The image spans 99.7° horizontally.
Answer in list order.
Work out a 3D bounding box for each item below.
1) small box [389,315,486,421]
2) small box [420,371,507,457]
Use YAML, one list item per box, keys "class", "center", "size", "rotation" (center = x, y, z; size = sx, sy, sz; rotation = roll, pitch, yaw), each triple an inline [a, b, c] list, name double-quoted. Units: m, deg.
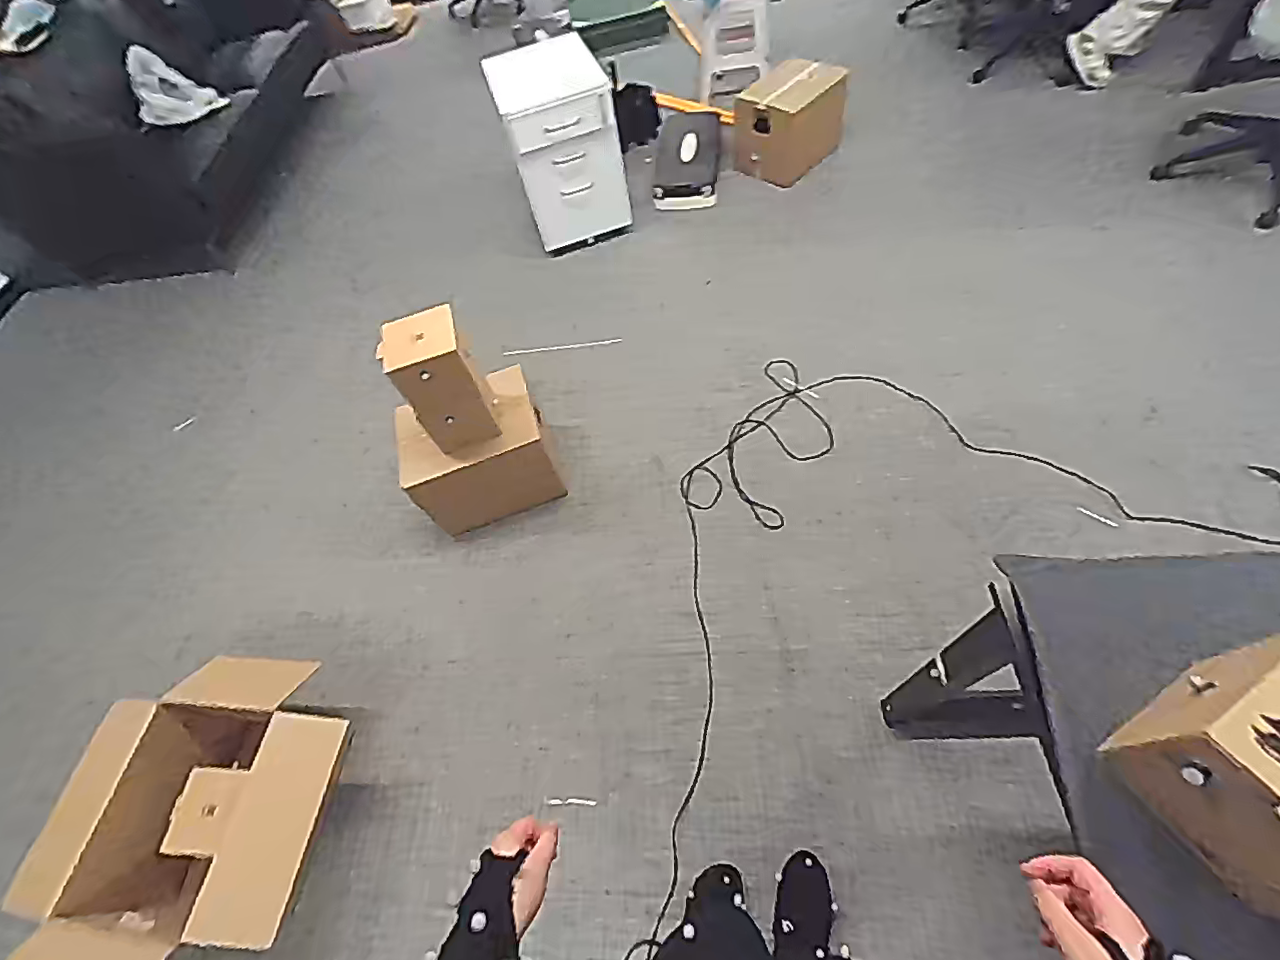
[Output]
- class: "small box"
  center: [-0.502, -0.277, 1.359]
  size: [0.179, 0.176, 0.168]
  rotation: [-19, 58, -1]
- class: "small box"
  center: [-0.489, -0.189, 1.496]
  size: [0.179, 0.176, 0.168]
  rotation: [-19, 57, -2]
